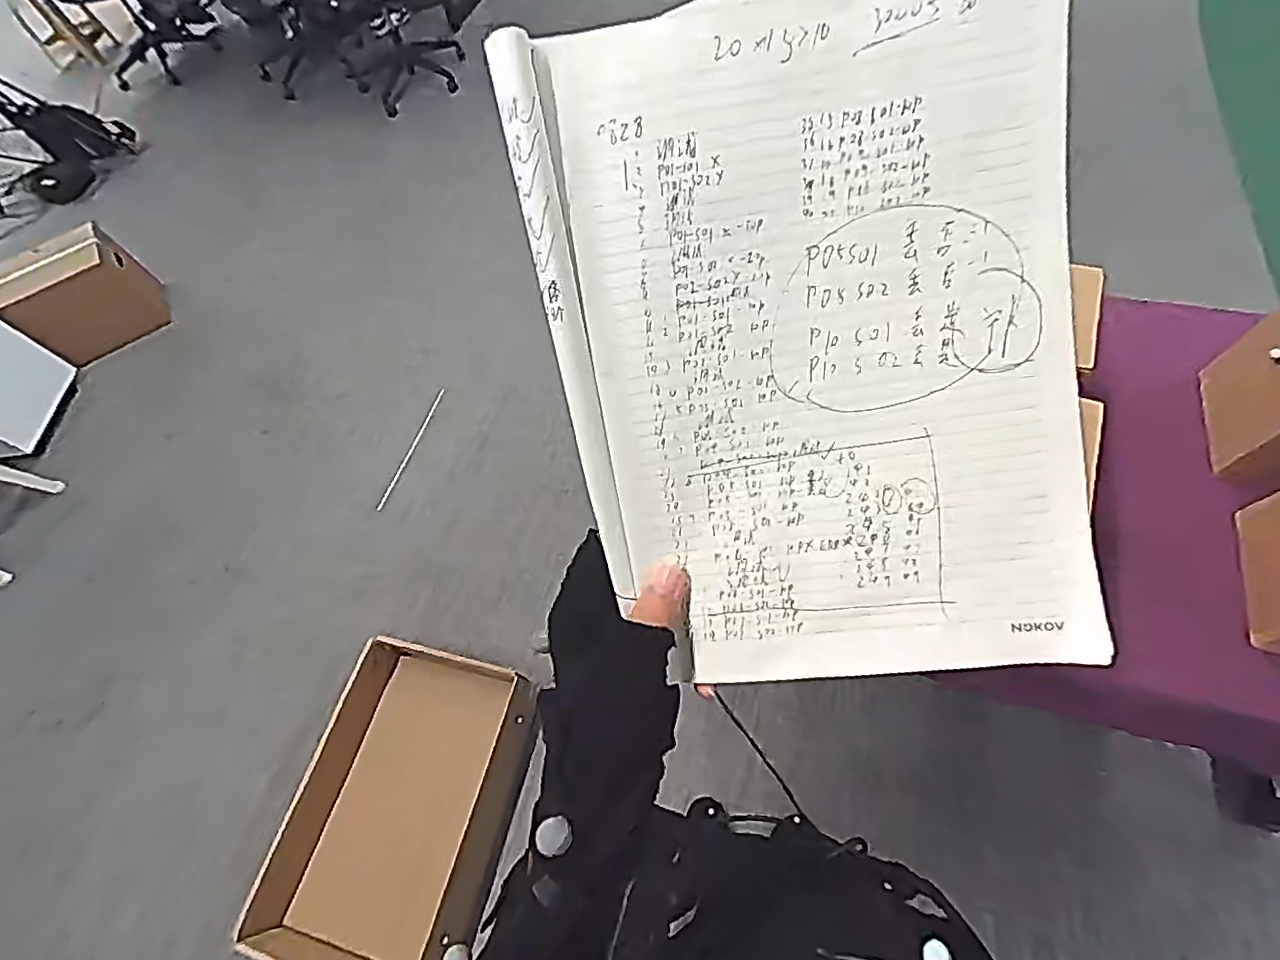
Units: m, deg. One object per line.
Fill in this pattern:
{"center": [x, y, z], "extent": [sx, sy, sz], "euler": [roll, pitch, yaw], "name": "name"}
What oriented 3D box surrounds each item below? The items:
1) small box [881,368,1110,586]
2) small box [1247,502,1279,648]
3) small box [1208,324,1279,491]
{"center": [0.406, 0.003, 0.644], "extent": [0.168, 0.176, 0.179], "euler": [21, 66, 18], "name": "small box"}
{"center": [0.776, 0.102, 0.539], "extent": [0.168, 0.176, 0.179], "euler": [17, 66, 17], "name": "small box"}
{"center": [0.831, -0.093, 0.635], "extent": [0.168, 0.176, 0.179], "euler": [14, 66, 15], "name": "small box"}
